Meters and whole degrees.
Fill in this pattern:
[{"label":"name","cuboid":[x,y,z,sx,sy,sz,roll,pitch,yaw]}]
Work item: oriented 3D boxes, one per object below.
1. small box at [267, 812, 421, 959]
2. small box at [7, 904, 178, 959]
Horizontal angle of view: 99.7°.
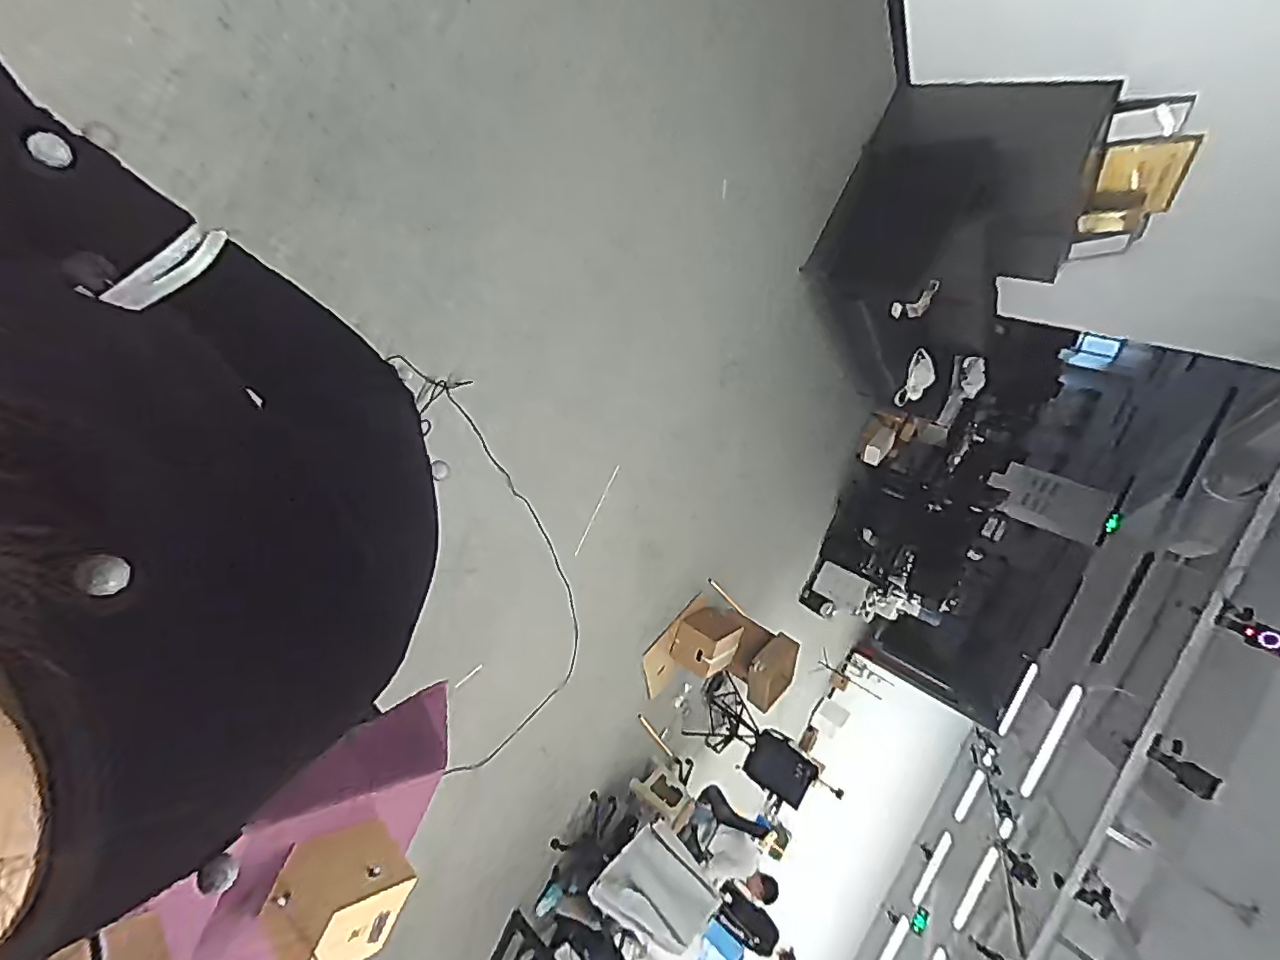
[{"label":"small box","cuboid":[-0.571,0.784,1.045,0.179,0.176,0.168,26,91,-57]},{"label":"small box","cuboid":[-0.769,0.741,0.740,0.179,0.176,0.168,27,90,-58]}]
